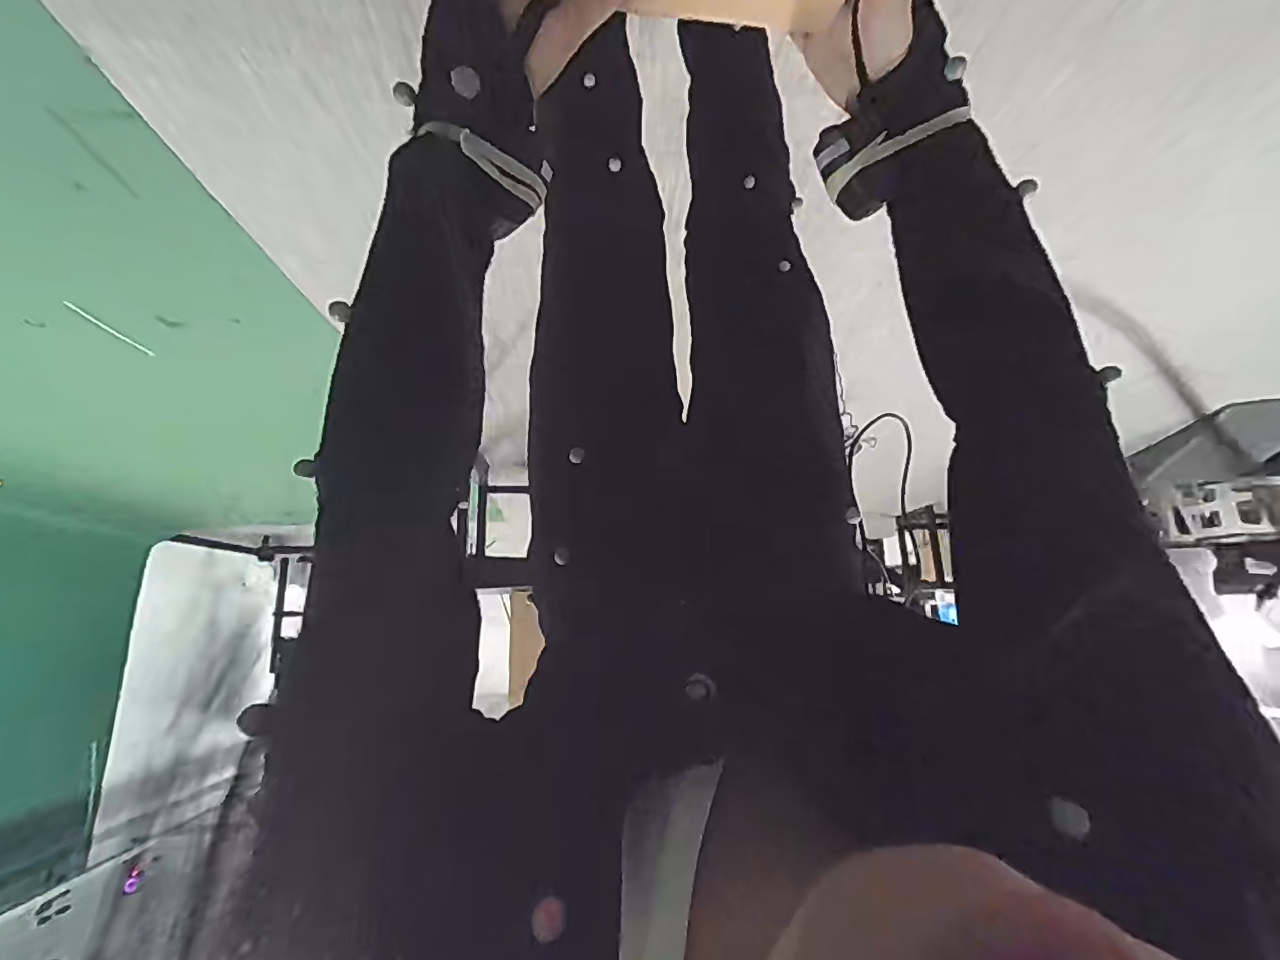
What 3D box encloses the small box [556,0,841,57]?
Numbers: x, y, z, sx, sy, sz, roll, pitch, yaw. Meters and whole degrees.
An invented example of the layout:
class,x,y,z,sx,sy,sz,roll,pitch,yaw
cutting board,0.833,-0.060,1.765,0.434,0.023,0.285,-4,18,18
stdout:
class,x,y,z,sx,sy,sz,roll,pitch,yaw
small box,0.042,-0.388,0.303,0.179,0.176,0.168,2,159,-7
